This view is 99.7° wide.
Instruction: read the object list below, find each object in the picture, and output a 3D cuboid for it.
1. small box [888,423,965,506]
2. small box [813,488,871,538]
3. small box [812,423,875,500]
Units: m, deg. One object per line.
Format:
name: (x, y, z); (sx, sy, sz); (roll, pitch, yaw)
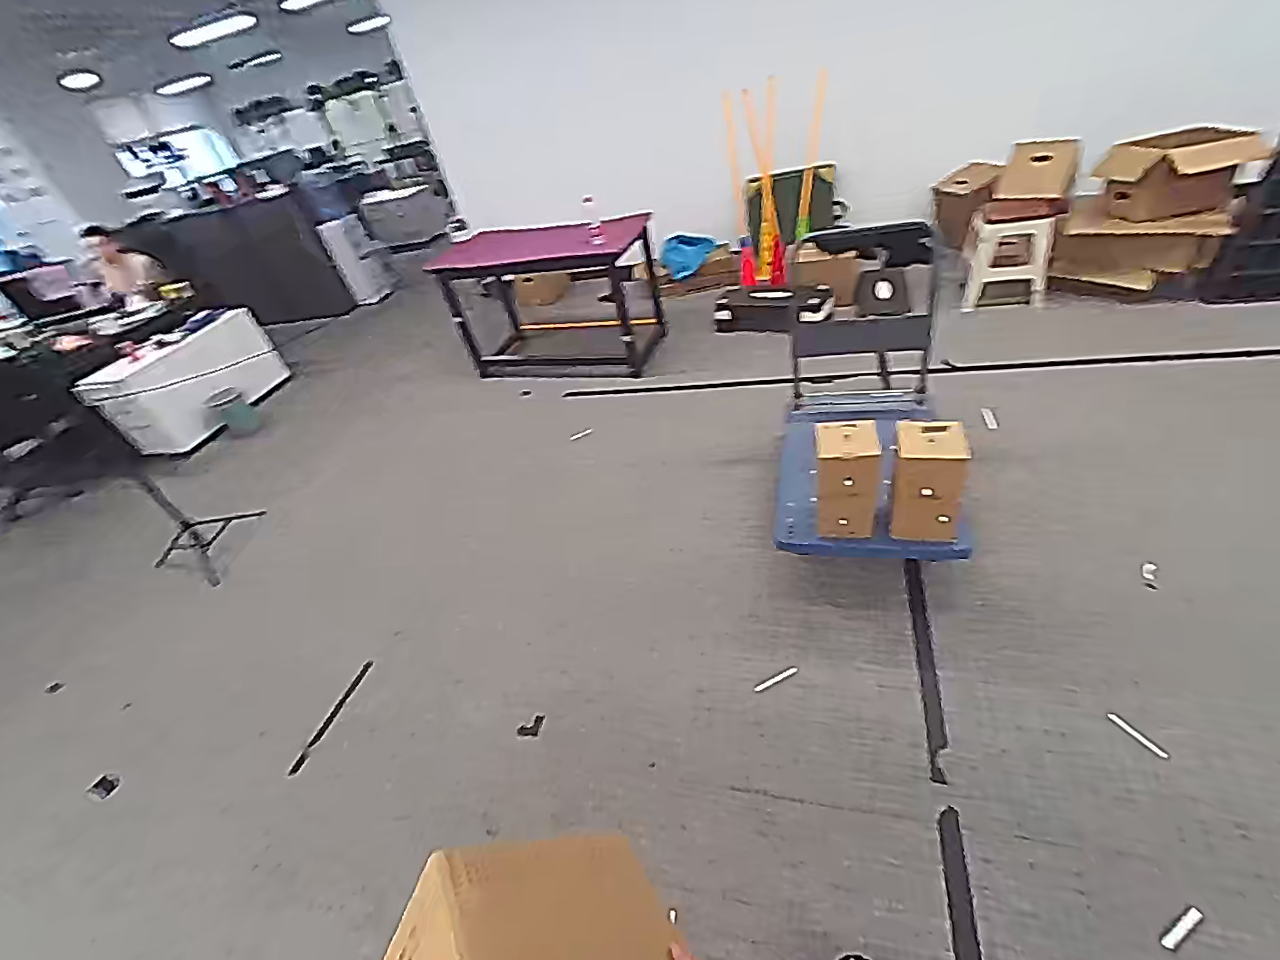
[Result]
small box: (0.822, -0.048, 1.567); (0.168, 0.176, 0.179); (2, 42, 19)
small box: (0.646, 0.072, 1.742); (0.168, 0.176, 0.179); (0, 40, 16)
small box: (0.612, -0.053, 1.639); (0.168, 0.176, 0.179); (-1, 41, 15)
